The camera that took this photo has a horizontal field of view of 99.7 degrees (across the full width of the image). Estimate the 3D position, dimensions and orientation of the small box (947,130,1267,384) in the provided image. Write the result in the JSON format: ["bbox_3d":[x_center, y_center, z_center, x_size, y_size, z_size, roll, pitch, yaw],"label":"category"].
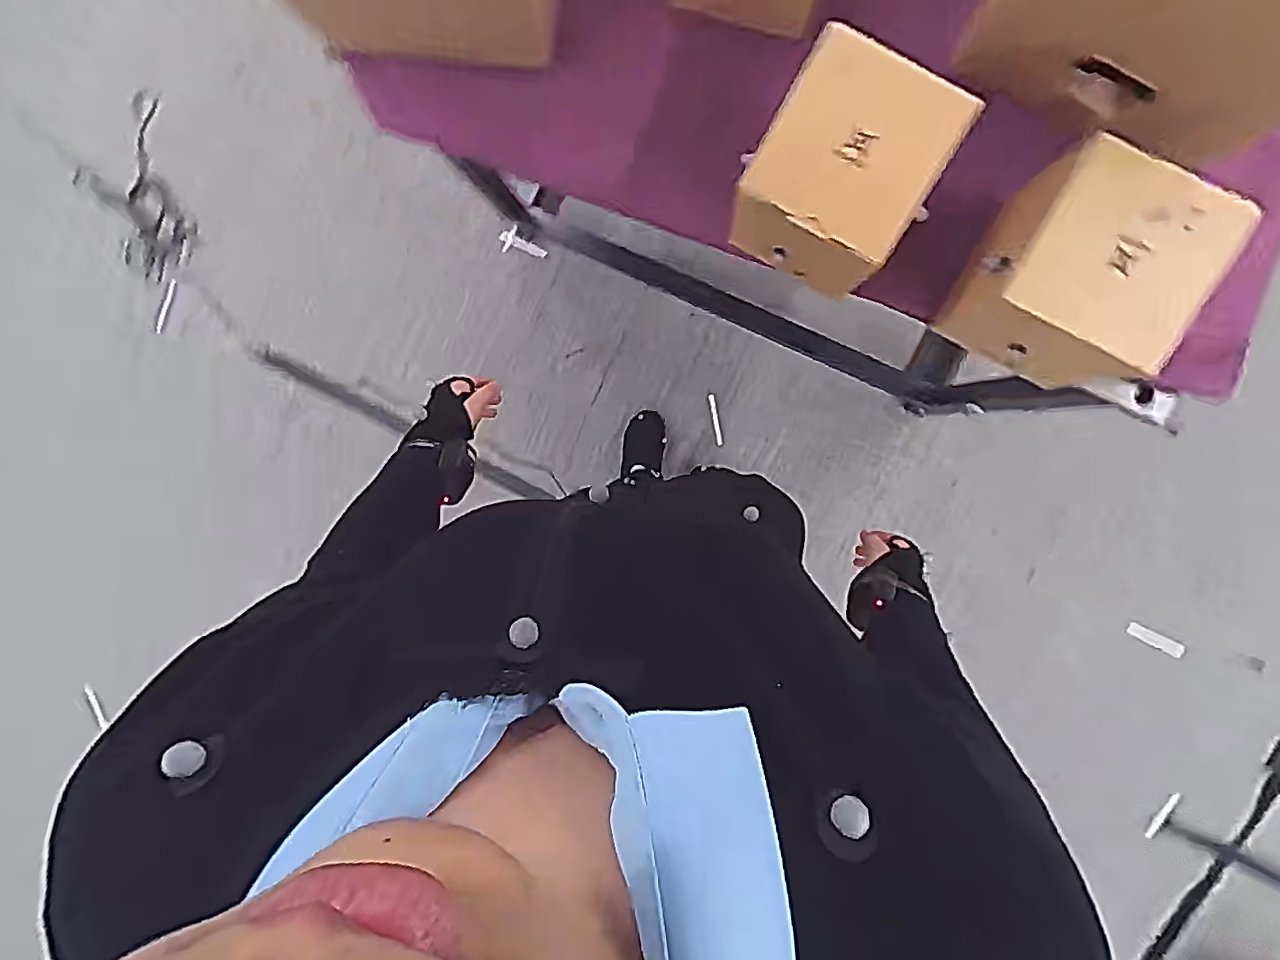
[{"bbox_3d":[0.474,-0.220,0.590,0.168,0.176,0.179,29,97,2],"label":"small box"}]

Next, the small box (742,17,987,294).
[{"bbox_3d":[0.226,-0.339,0.606,0.168,0.176,0.179,31,99,2],"label":"small box"}]
